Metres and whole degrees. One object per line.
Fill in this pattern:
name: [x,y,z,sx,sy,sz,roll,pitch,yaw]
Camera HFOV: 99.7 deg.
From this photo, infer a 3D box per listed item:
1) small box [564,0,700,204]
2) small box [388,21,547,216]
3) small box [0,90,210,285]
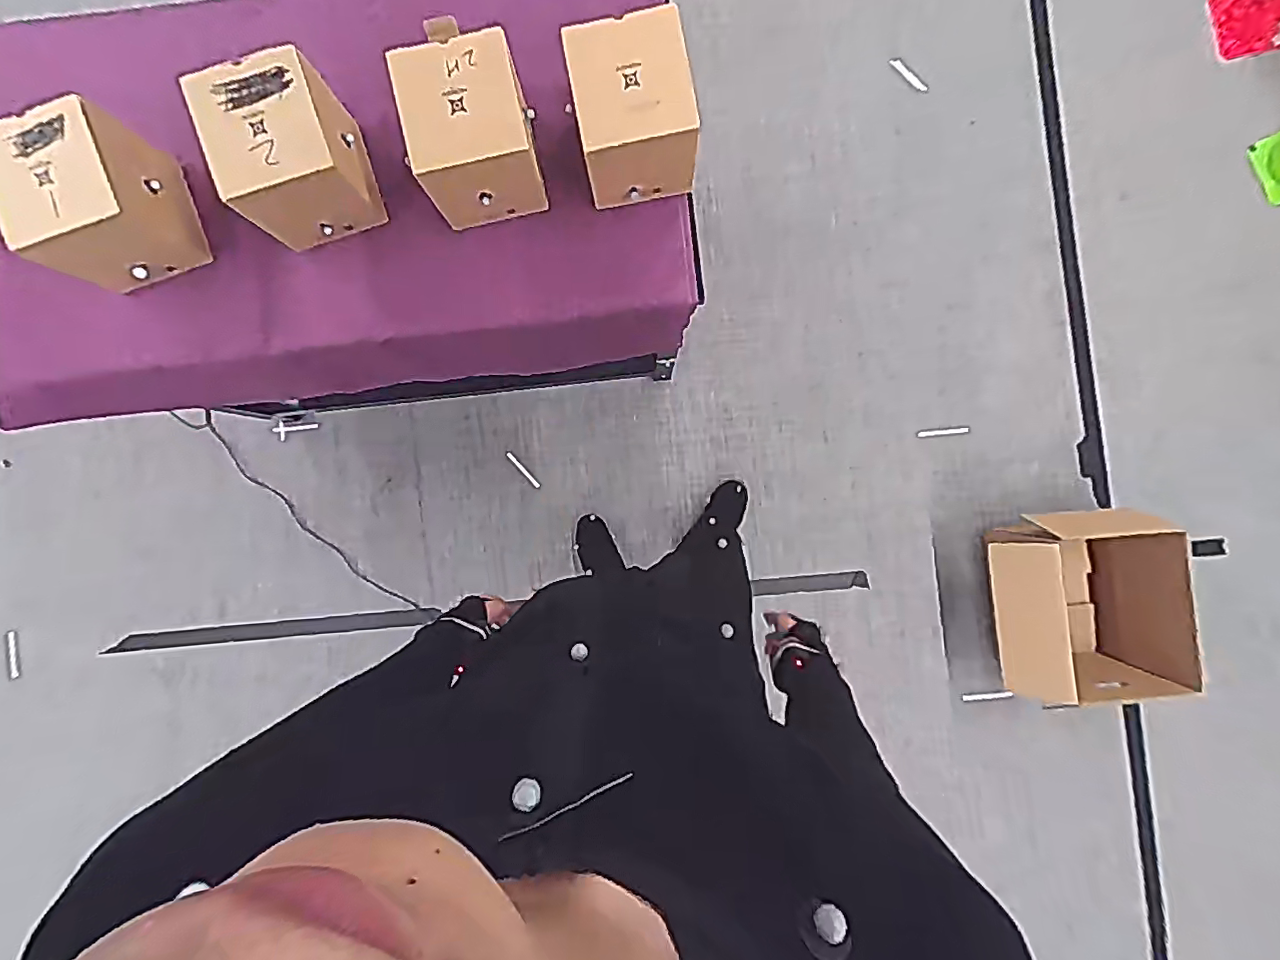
small box: [-0.010,-0.555,0.815,0.168,0.176,0.179,-10,89,2]
small box: [-0.247,-0.524,0.816,0.168,0.176,0.179,-12,90,0]
small box: [-0.812,-0.427,0.818,0.168,0.176,0.179,-20,91,0]
